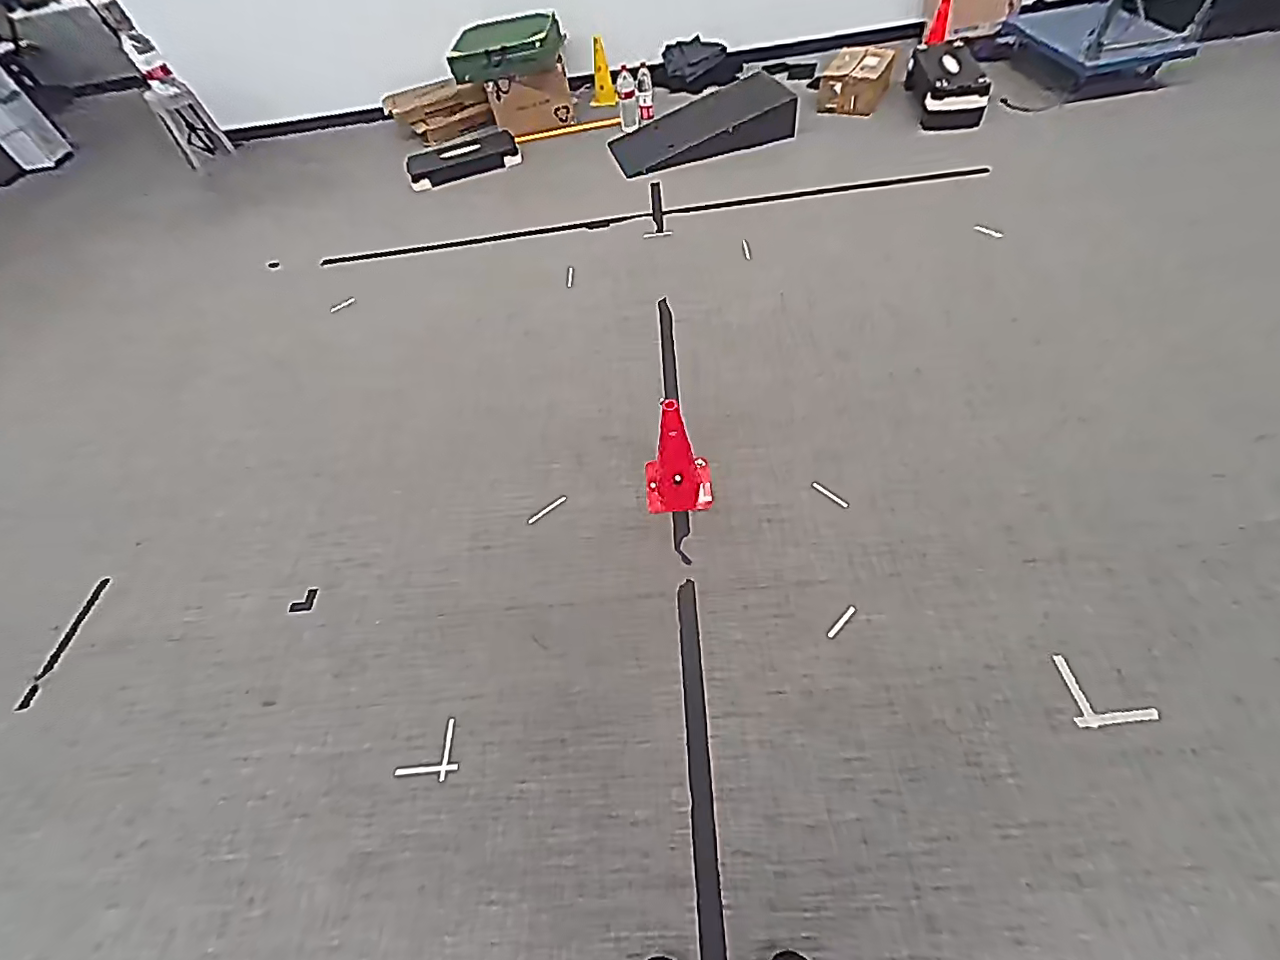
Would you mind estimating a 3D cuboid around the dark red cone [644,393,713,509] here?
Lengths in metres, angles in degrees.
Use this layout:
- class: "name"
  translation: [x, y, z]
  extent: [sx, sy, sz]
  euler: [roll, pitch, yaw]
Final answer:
- class: "dark red cone"
  translation: [0.092, -0.097, 1.528]
  extent: [0.201, 0.394, 0.202]
  euler: [-7, 53, 5]
